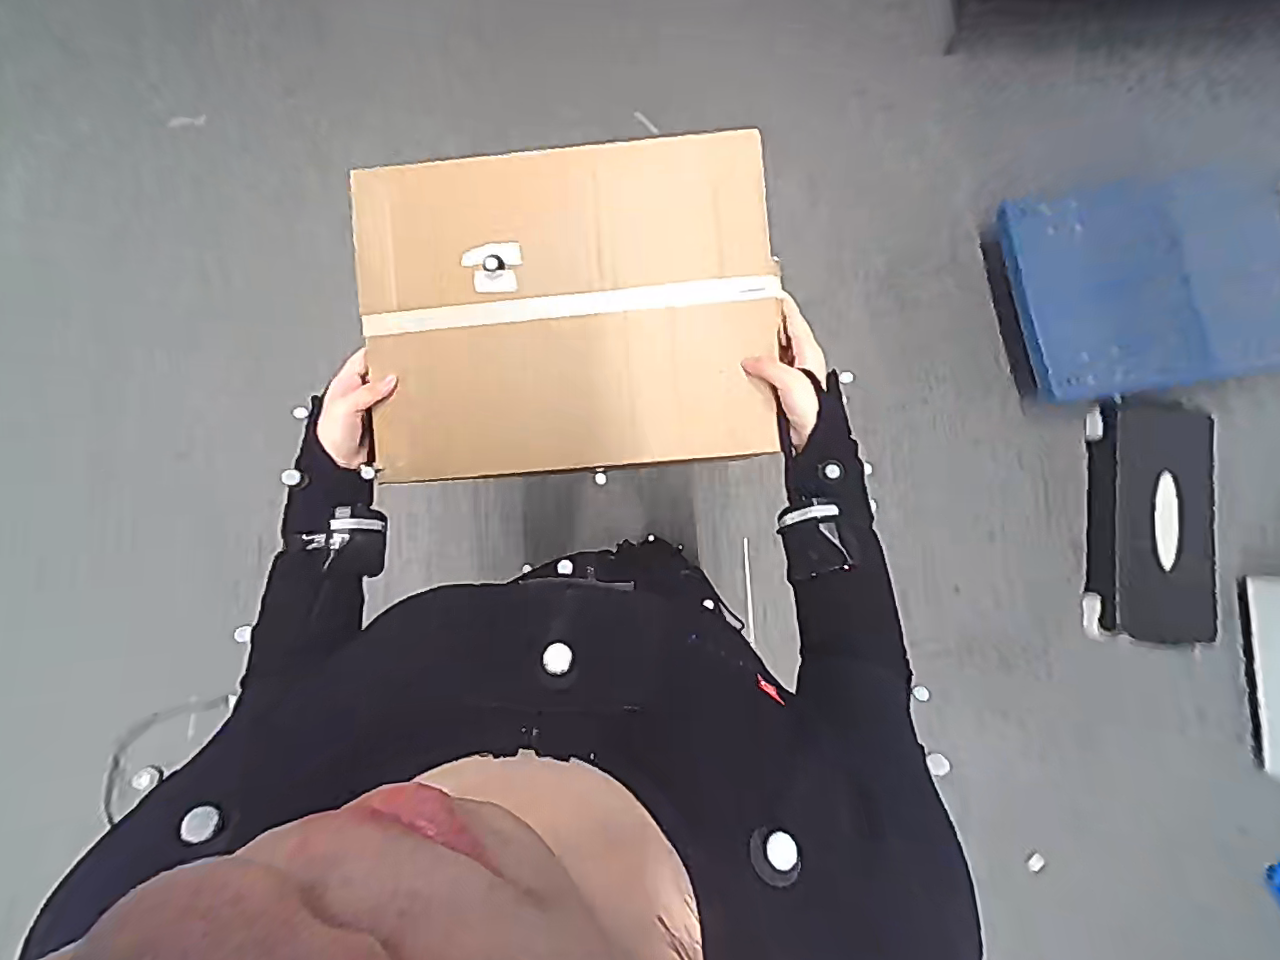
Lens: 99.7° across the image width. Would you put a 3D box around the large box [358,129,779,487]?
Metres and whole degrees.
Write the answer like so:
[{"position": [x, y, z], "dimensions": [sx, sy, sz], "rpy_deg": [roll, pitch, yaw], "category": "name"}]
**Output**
[{"position": [-0.065, -0.174, 0.691], "dimensions": [0.408, 0.320, 0.320], "rpy_deg": [-6, 91, 4], "category": "large box"}]
